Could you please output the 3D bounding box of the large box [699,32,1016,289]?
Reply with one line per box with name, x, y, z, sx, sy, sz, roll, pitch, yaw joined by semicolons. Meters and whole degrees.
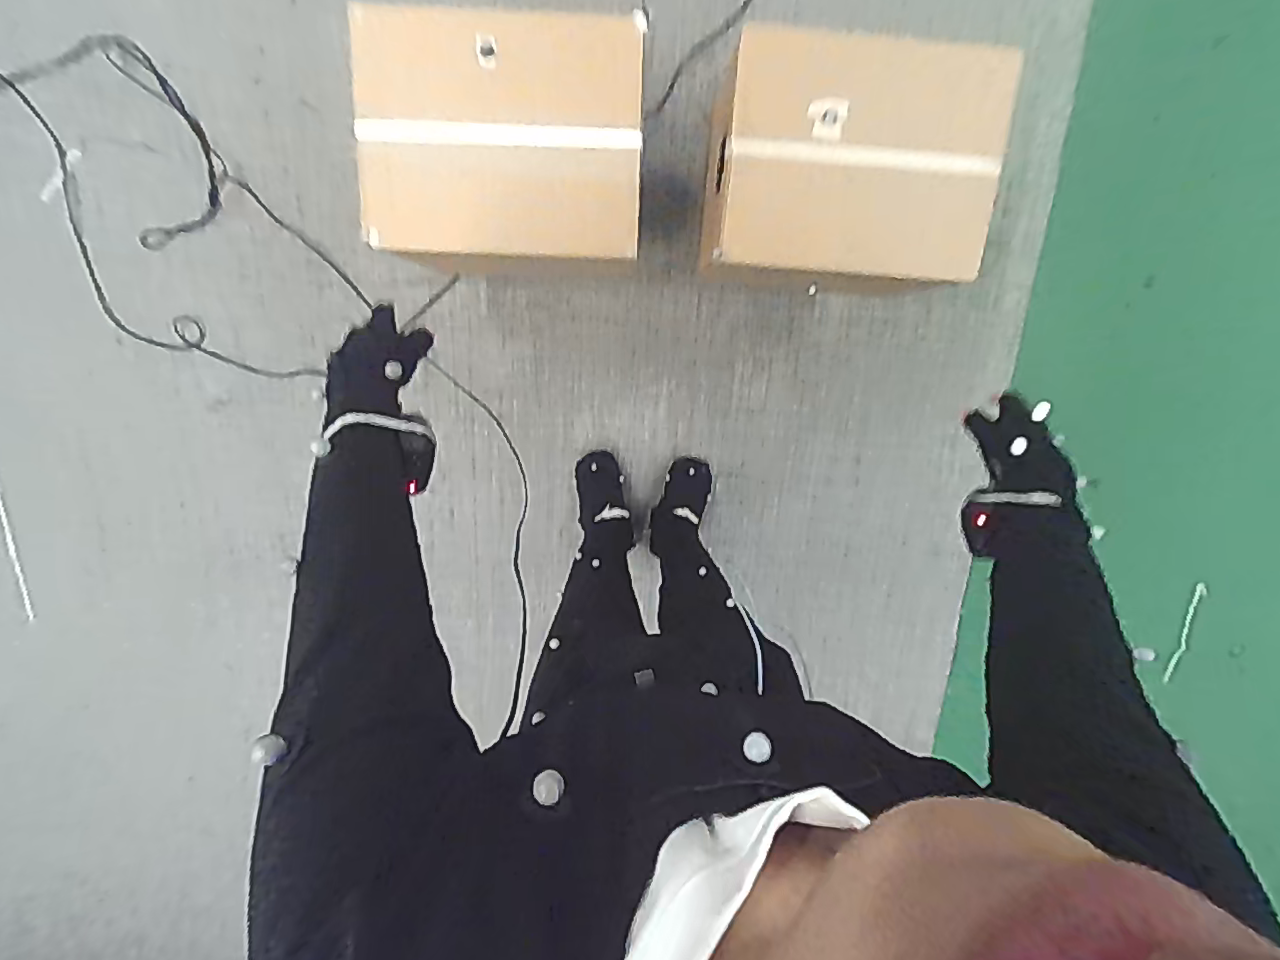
large box;0.331;-0.514;0.948;0.408;0.320;0.320;4;104;-2
